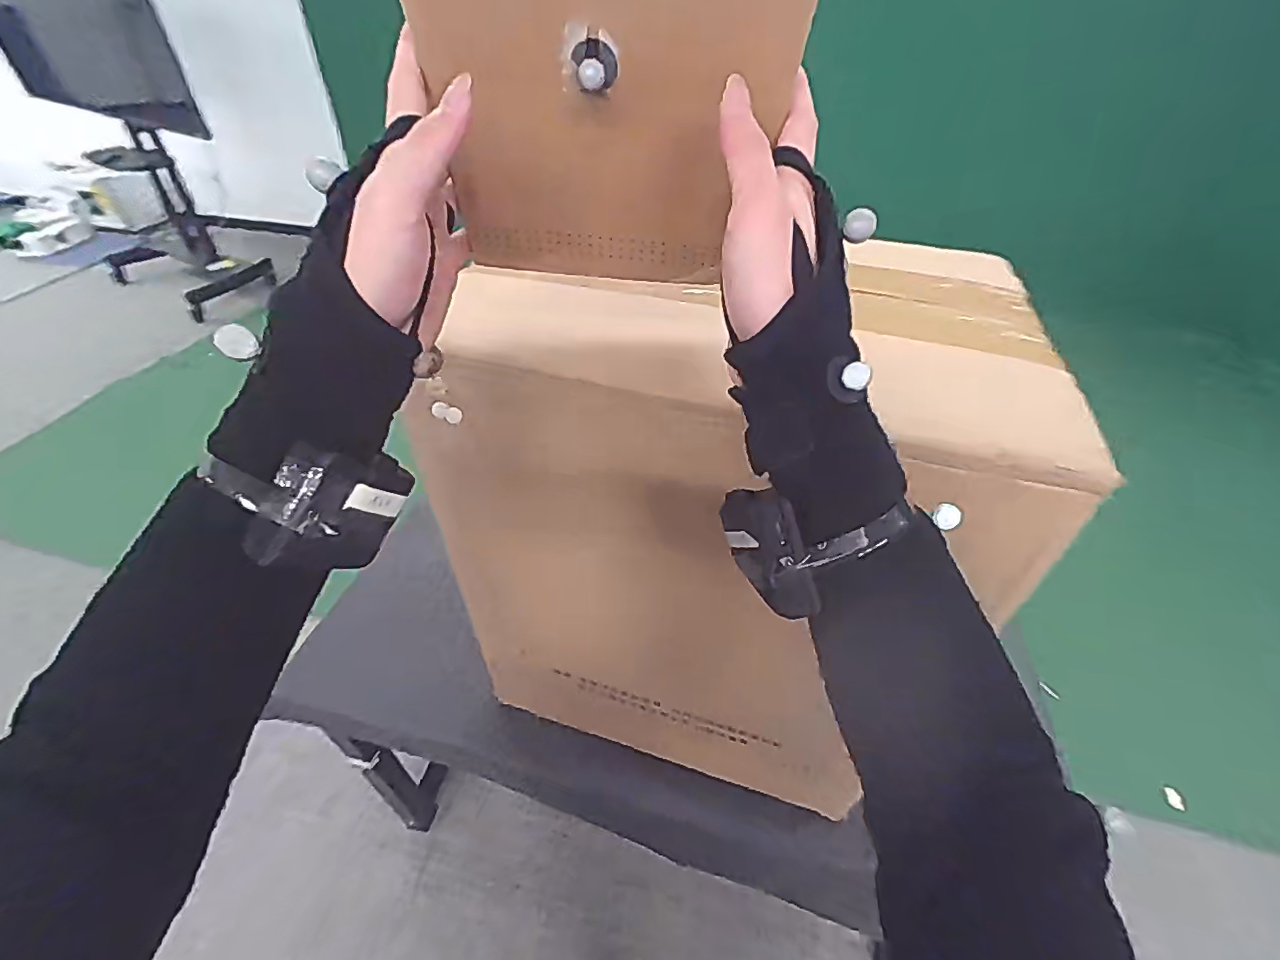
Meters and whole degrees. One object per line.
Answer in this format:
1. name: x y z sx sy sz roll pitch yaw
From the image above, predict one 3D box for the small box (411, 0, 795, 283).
1. small box: -0.017 -0.242 0.325 0.179 0.176 0.168 5 64 -2
